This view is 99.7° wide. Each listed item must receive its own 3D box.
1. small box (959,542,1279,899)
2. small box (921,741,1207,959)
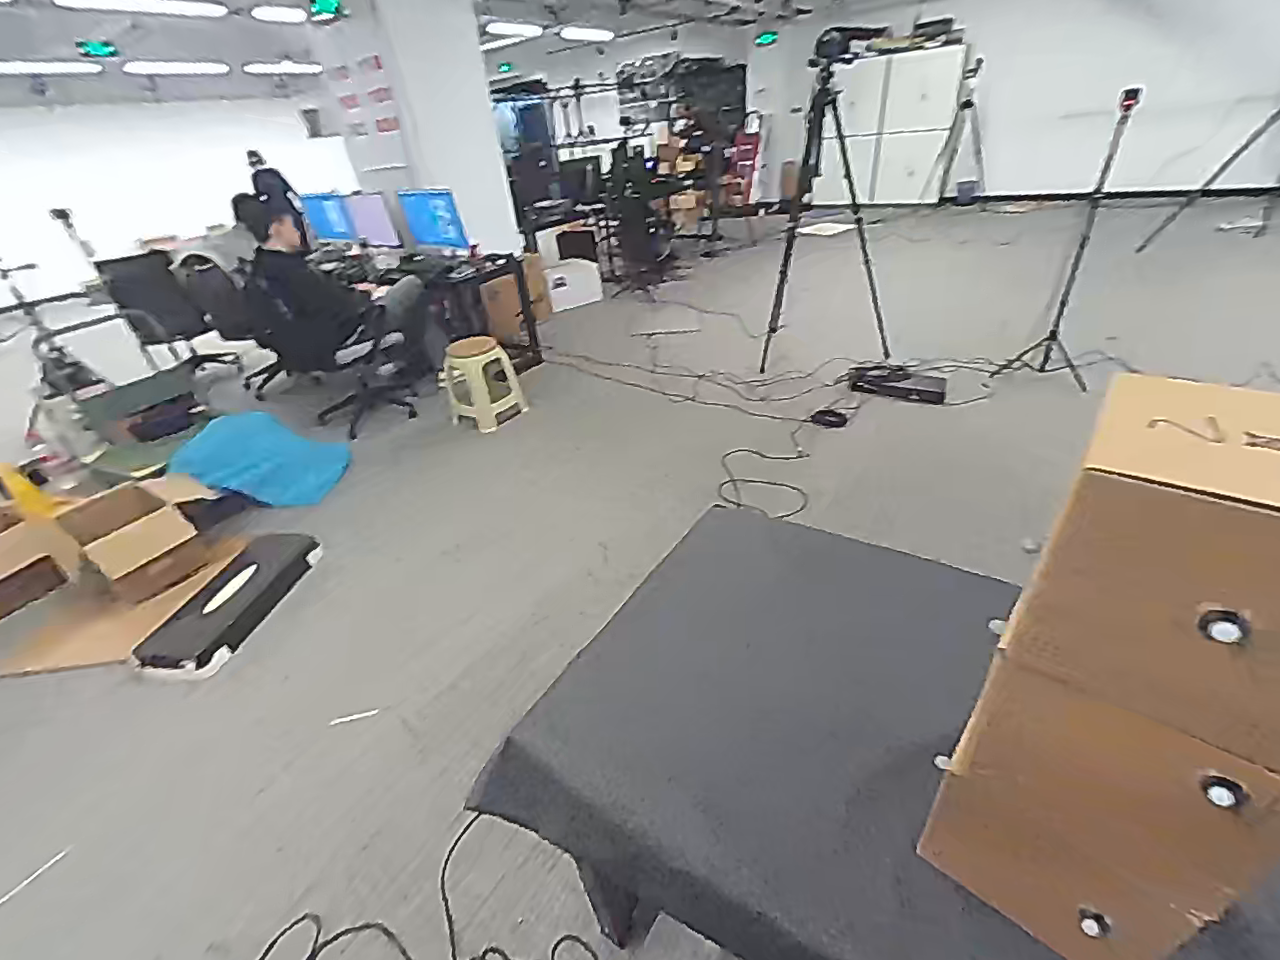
[{"bbox_3d":[0.394,0.186,0.446,0.179,0.176,0.168,24,43,37],"label":"small box"},{"bbox_3d":[0.406,0.323,0.531,0.179,0.176,0.168,22,42,38],"label":"small box"}]
